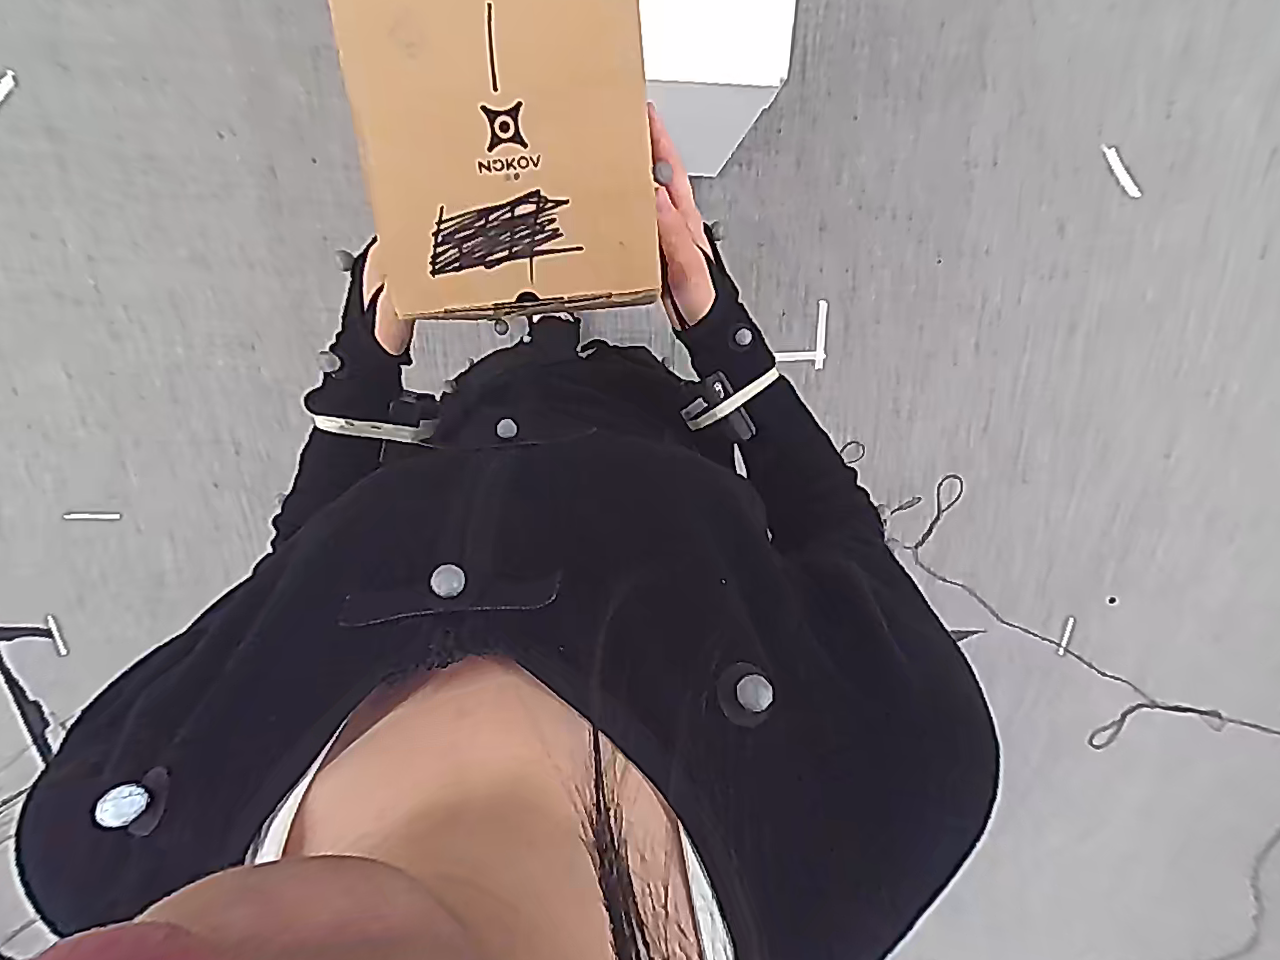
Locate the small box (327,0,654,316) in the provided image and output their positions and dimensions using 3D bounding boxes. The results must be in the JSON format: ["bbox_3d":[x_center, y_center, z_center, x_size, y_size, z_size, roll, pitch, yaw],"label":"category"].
[{"bbox_3d":[-0.078,-0.213,0.379,0.168,0.176,0.179,-5,106,1],"label":"small box"}]
